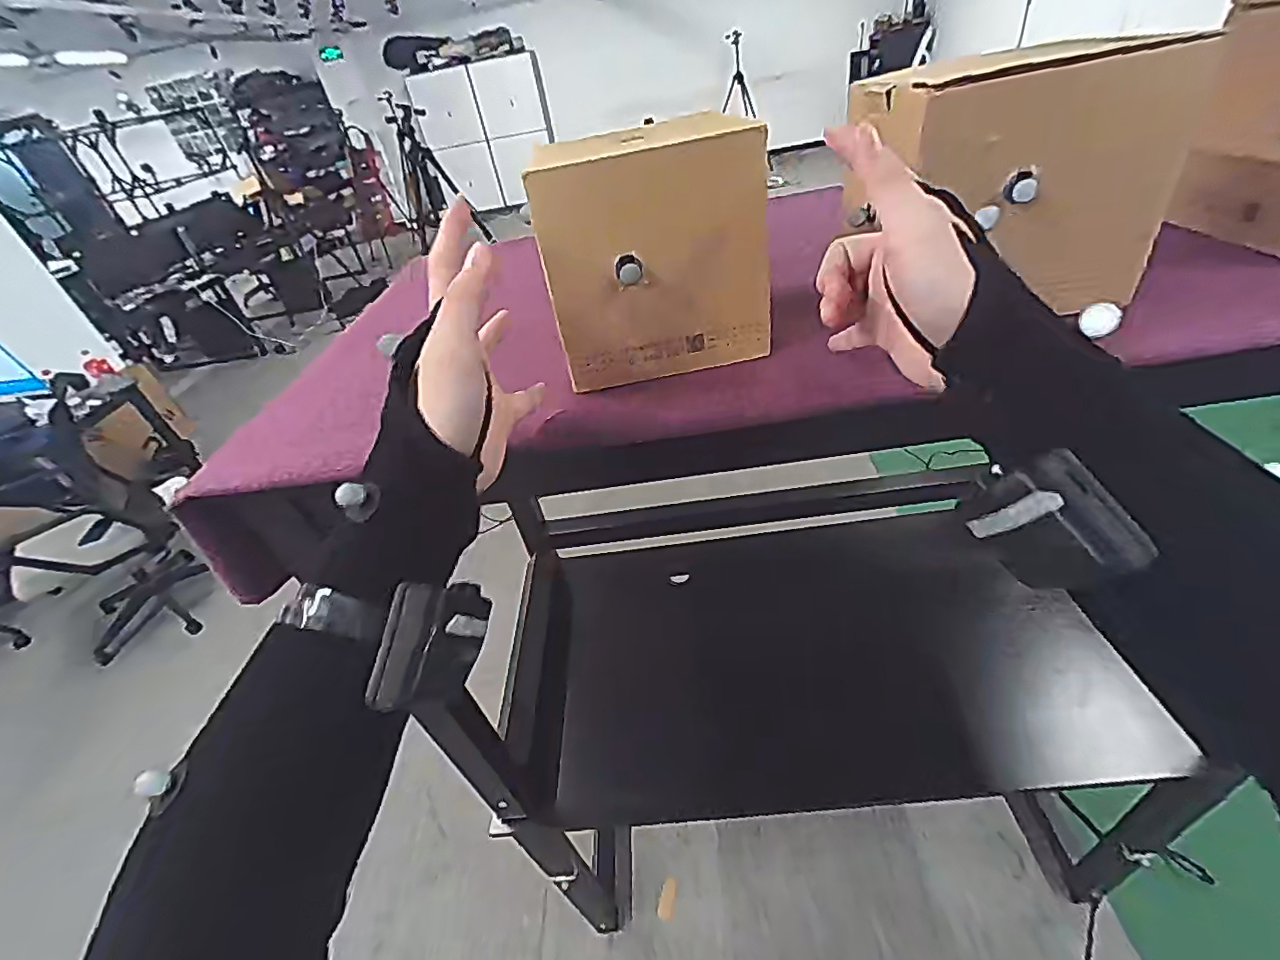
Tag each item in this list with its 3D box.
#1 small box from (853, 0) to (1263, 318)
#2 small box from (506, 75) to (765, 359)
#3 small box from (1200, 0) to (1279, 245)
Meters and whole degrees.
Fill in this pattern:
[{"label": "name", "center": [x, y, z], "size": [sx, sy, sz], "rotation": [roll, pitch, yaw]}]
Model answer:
[{"label": "small box", "center": [0.271, -0.236, 0.413], "size": [0.179, 0.176, 0.168], "rotation": [-5, 39, 7]}, {"label": "small box", "center": [0.003, -0.209, 0.442], "size": [0.168, 0.176, 0.179], "rotation": [-9, 38, 1]}, {"label": "small box", "center": [0.578, -0.276, 0.393], "size": [0.179, 0.176, 0.168], "rotation": [-4, 39, 9]}]
